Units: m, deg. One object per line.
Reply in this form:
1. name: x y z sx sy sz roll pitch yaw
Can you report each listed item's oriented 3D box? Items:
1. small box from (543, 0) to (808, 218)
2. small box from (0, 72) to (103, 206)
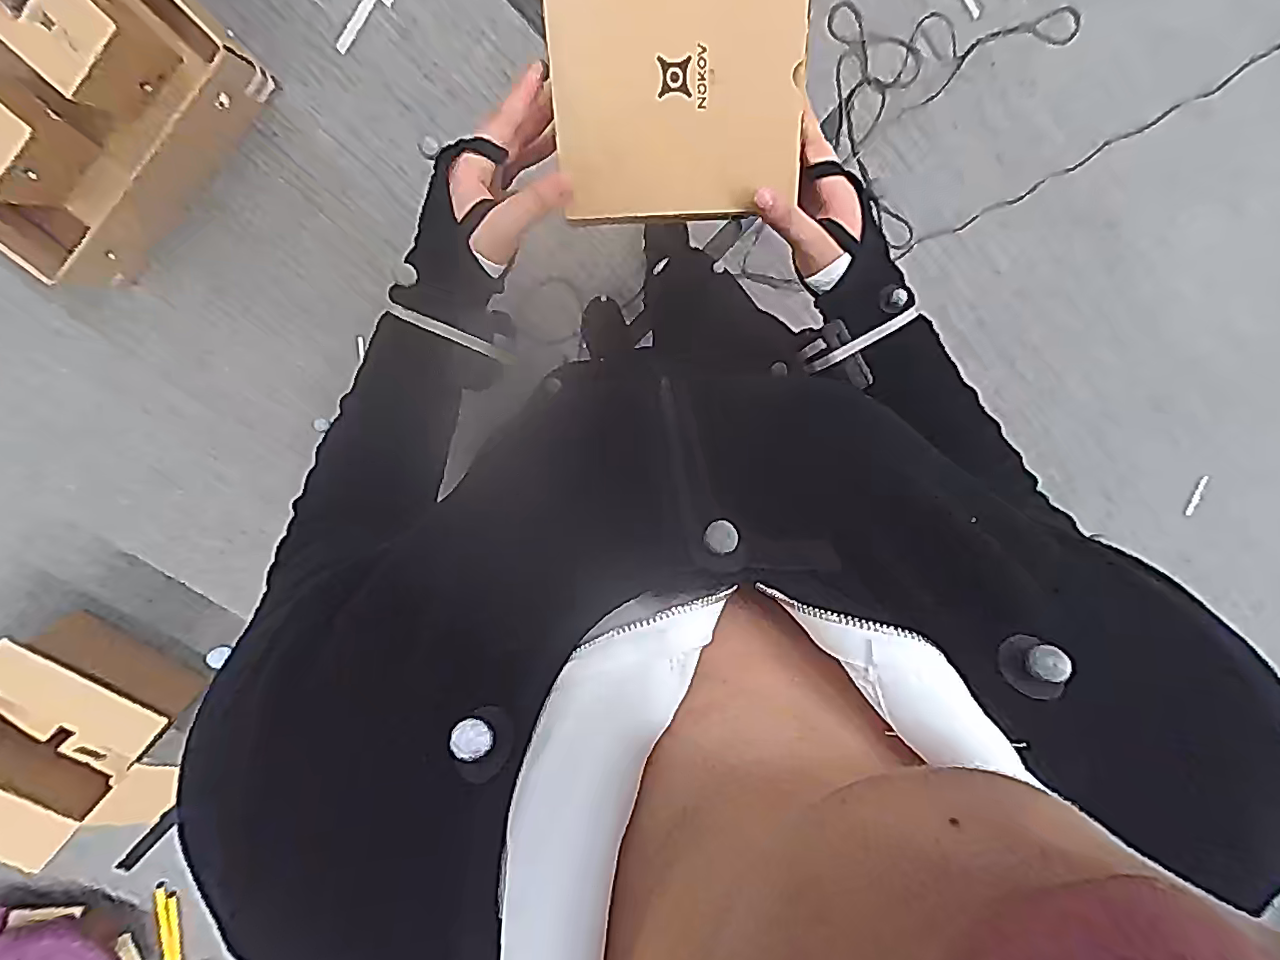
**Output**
1. small box: 0.017 -0.309 0.437 0.179 0.176 0.168 -6 115 -6
2. small box: -1.235 -0.668 1.062 0.179 0.176 0.168 -41 111 10
